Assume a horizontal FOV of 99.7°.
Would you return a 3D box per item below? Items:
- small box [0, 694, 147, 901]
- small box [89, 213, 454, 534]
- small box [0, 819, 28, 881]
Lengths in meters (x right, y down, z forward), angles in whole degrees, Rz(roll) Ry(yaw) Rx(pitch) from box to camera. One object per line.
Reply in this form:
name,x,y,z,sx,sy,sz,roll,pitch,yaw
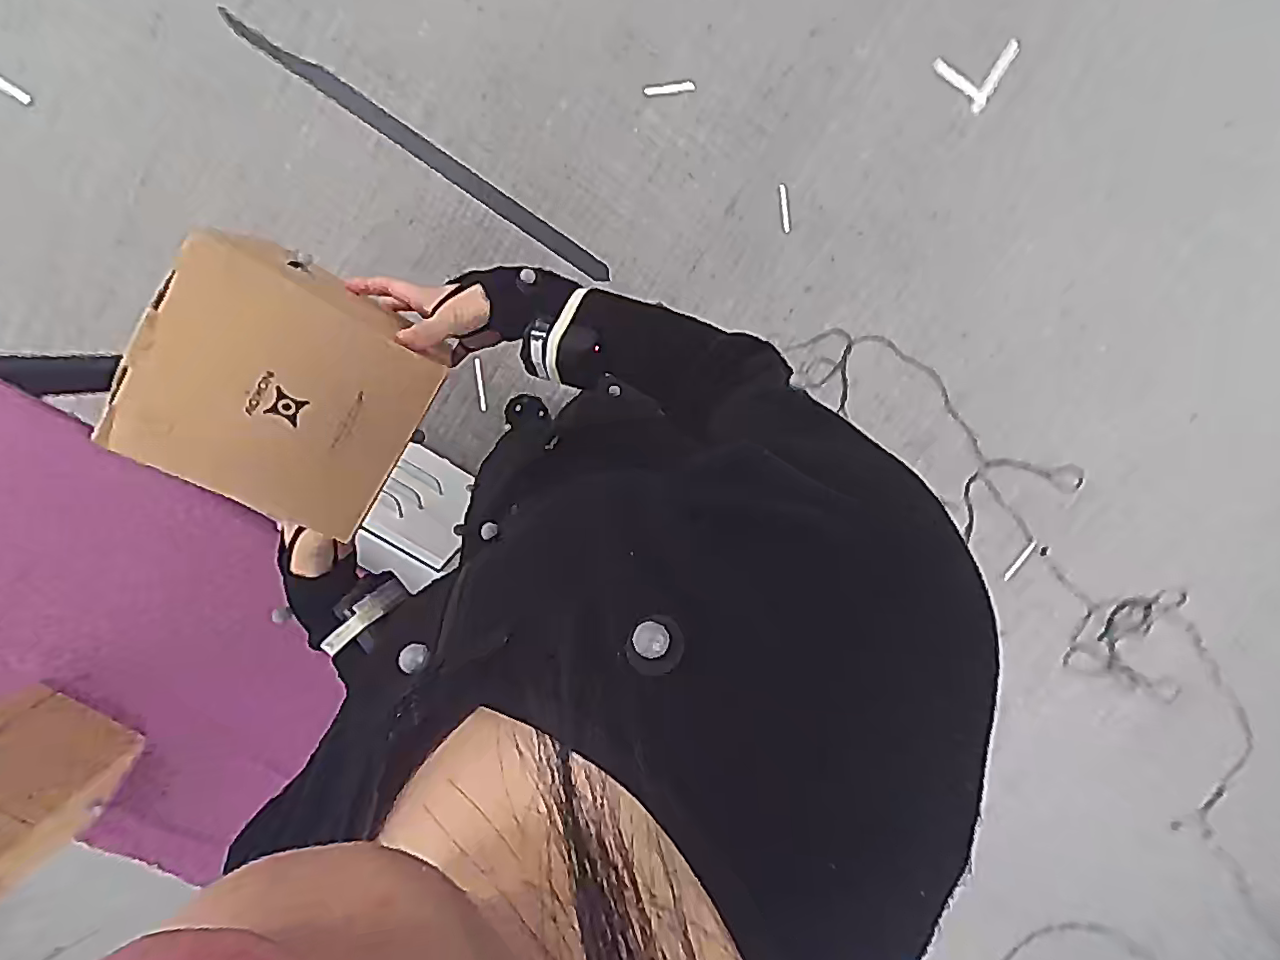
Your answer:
small box,-0.852,0.425,0.736,0.179,0.176,0.168,35,99,-9
small box,-0.277,-0.088,0.455,0.179,0.176,0.168,32,99,-26
small box,-0.845,0.462,0.576,0.179,0.176,0.168,36,98,-10
